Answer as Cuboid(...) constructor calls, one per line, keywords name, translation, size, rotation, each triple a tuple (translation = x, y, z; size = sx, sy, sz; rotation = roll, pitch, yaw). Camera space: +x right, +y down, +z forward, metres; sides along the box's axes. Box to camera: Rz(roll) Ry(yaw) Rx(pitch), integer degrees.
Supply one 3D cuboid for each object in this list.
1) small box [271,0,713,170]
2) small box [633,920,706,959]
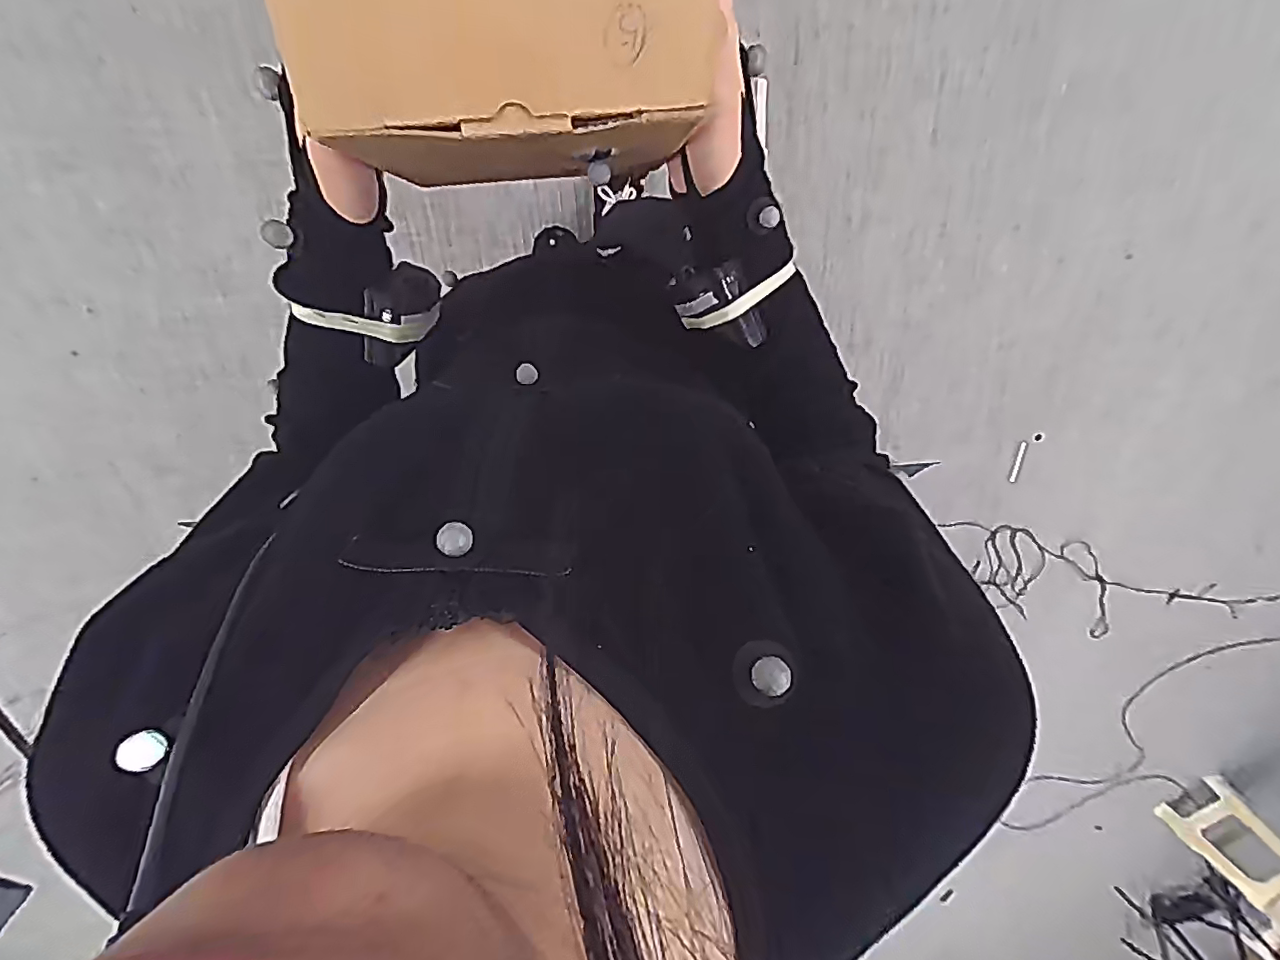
Cuboid(name="small box", translation=(-0.065, -0.256, 0.256), size=(0.168, 0.176, 0.179), rotation=(-7, 113, -5))
Cuboid(name="small box", translation=(0.072, 1.192, 1.296), size=(0.168, 0.176, 0.179), rotation=(-4, 118, -5))
